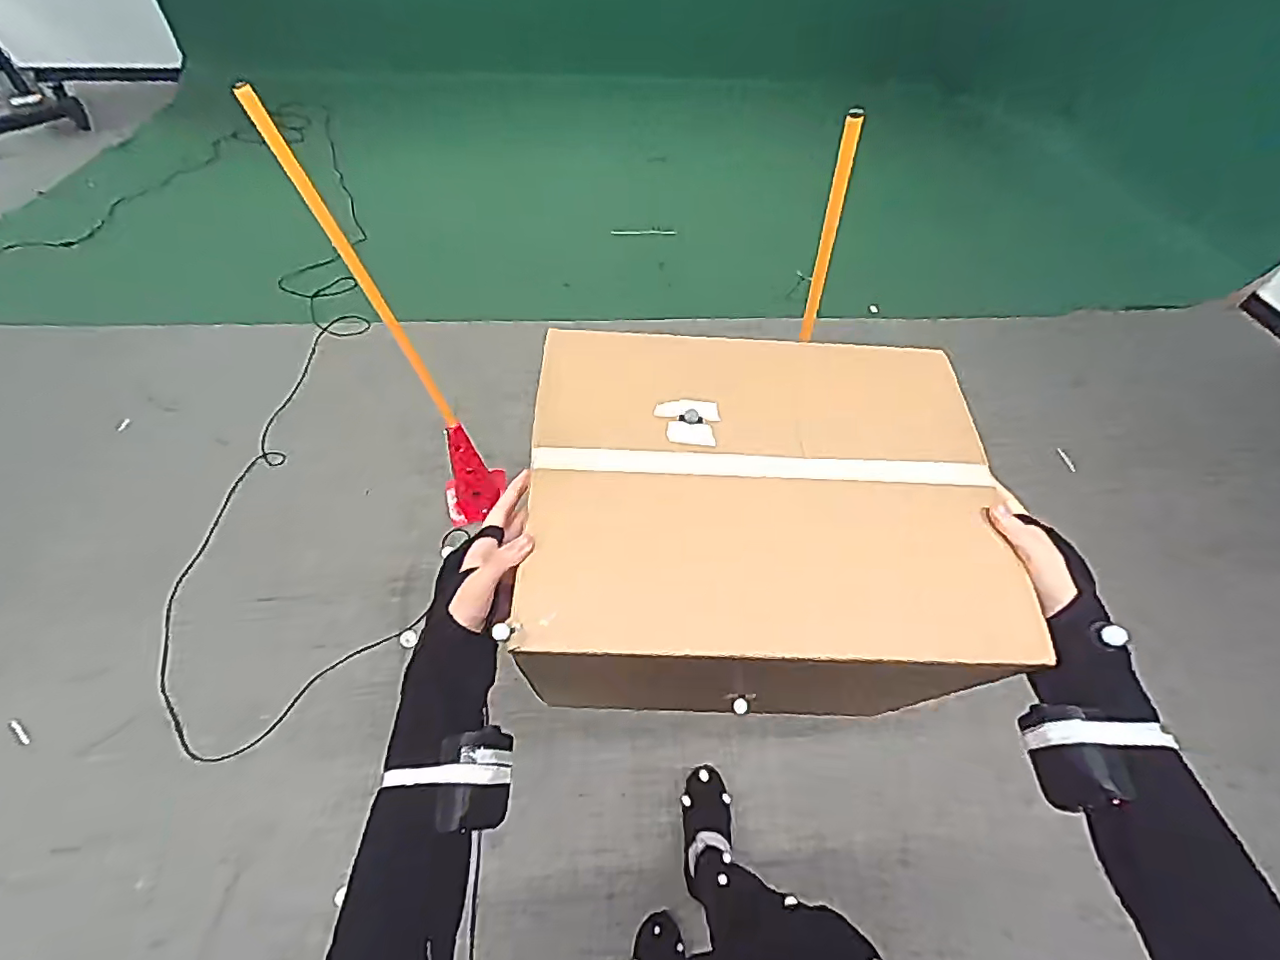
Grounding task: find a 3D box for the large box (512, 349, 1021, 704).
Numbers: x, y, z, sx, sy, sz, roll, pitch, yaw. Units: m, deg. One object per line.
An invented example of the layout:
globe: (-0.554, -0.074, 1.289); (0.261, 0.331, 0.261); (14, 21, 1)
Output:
large box: (0.097, 0.074, 0.613); (0.408, 0.320, 0.320); (2, 60, -2)
